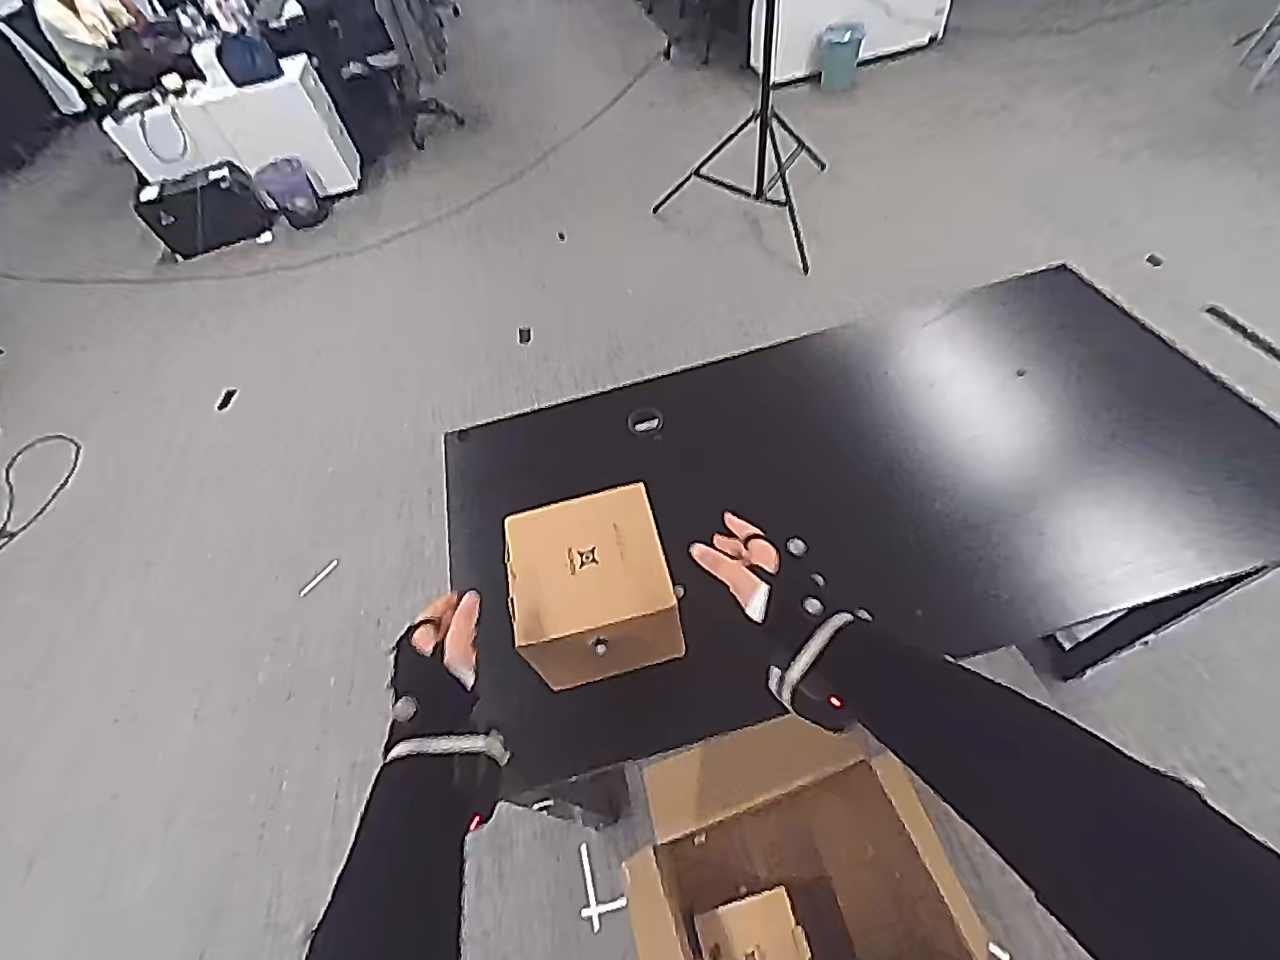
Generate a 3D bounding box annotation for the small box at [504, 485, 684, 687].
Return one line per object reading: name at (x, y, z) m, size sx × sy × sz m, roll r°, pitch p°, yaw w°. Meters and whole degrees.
small box at (-0.052, 0.136, 0.667) m, size 0.179 × 0.176 × 0.168 m, roll -15°, pitch 54°, yaw -3°
